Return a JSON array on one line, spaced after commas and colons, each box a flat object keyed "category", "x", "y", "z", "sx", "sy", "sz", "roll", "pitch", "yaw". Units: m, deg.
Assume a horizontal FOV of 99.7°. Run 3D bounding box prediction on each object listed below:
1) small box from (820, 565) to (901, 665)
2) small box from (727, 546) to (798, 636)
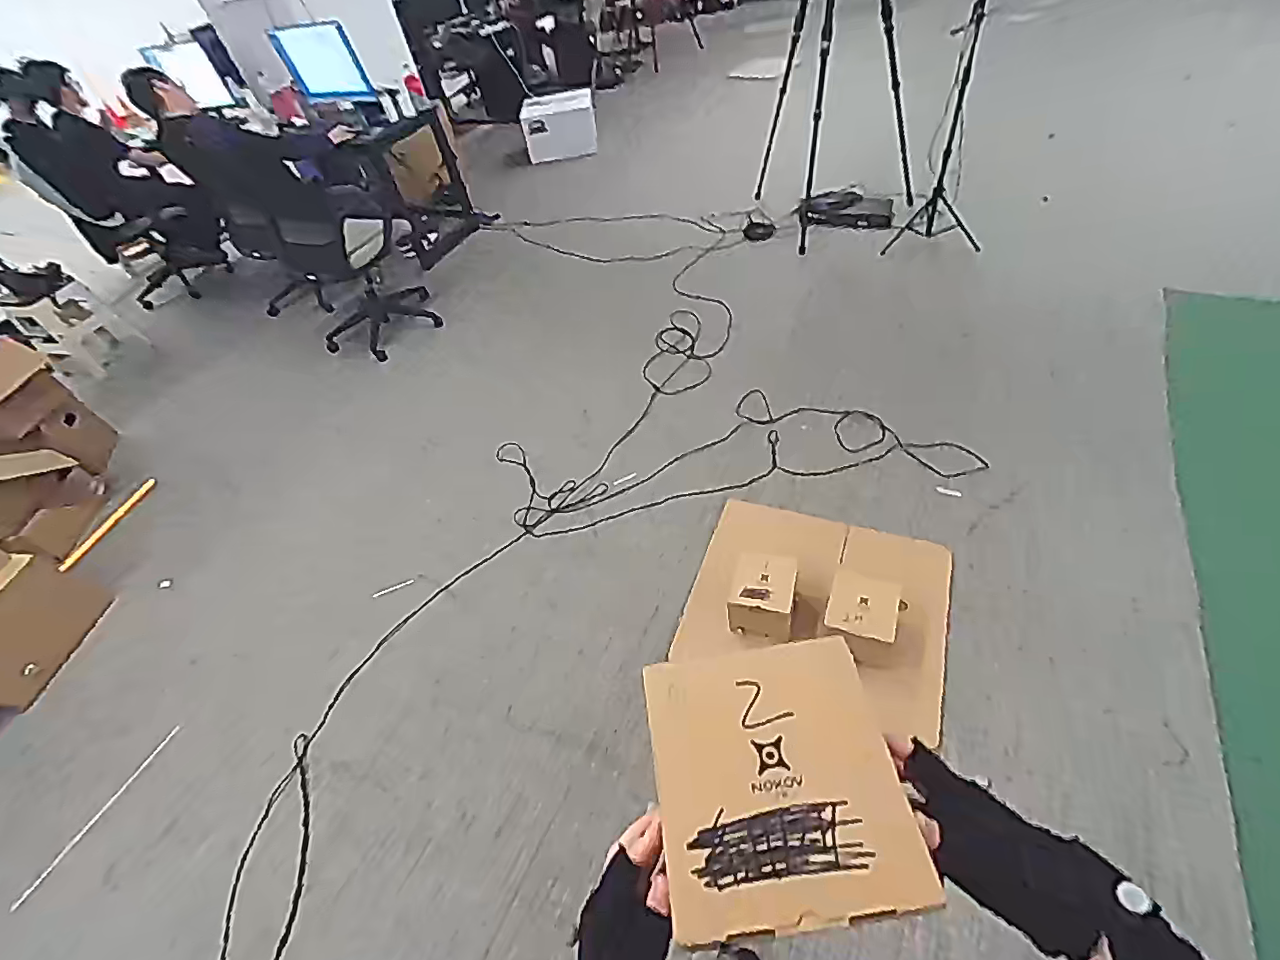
[{"category": "small box", "x": 0.579, "y": 0.358, "z": 1.432, "sx": 0.168, "sy": 0.176, "sz": 0.179, "roll": 11, "pitch": 53, "yaw": 22}, {"category": "small box", "x": 0.347, "y": 0.314, "z": 1.517, "sx": 0.168, "sy": 0.176, "sz": 0.179, "roll": 8, "pitch": 51, "yaw": 19}]
